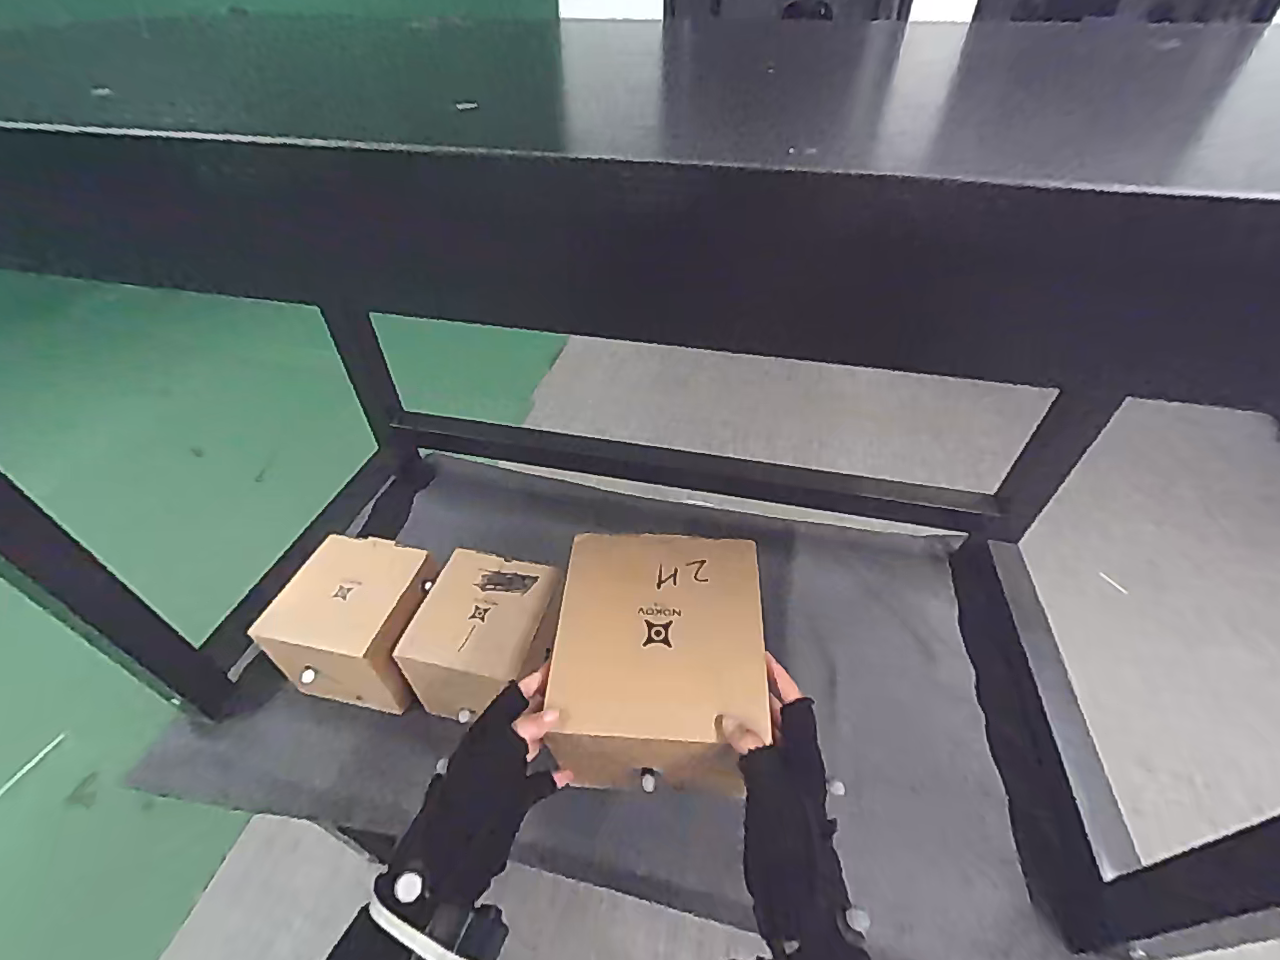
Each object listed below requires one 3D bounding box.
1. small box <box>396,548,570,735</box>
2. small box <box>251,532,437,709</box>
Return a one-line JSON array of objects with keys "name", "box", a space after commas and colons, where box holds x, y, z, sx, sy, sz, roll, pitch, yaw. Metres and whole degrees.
[{"name": "small box", "box": [-0.204, 0.226, 0.763, 0.168, 0.176, 0.179, 8, 44, 10]}, {"name": "small box", "box": [-0.398, 0.205, 0.786, 0.168, 0.176, 0.179, 8, 43, 9]}]
